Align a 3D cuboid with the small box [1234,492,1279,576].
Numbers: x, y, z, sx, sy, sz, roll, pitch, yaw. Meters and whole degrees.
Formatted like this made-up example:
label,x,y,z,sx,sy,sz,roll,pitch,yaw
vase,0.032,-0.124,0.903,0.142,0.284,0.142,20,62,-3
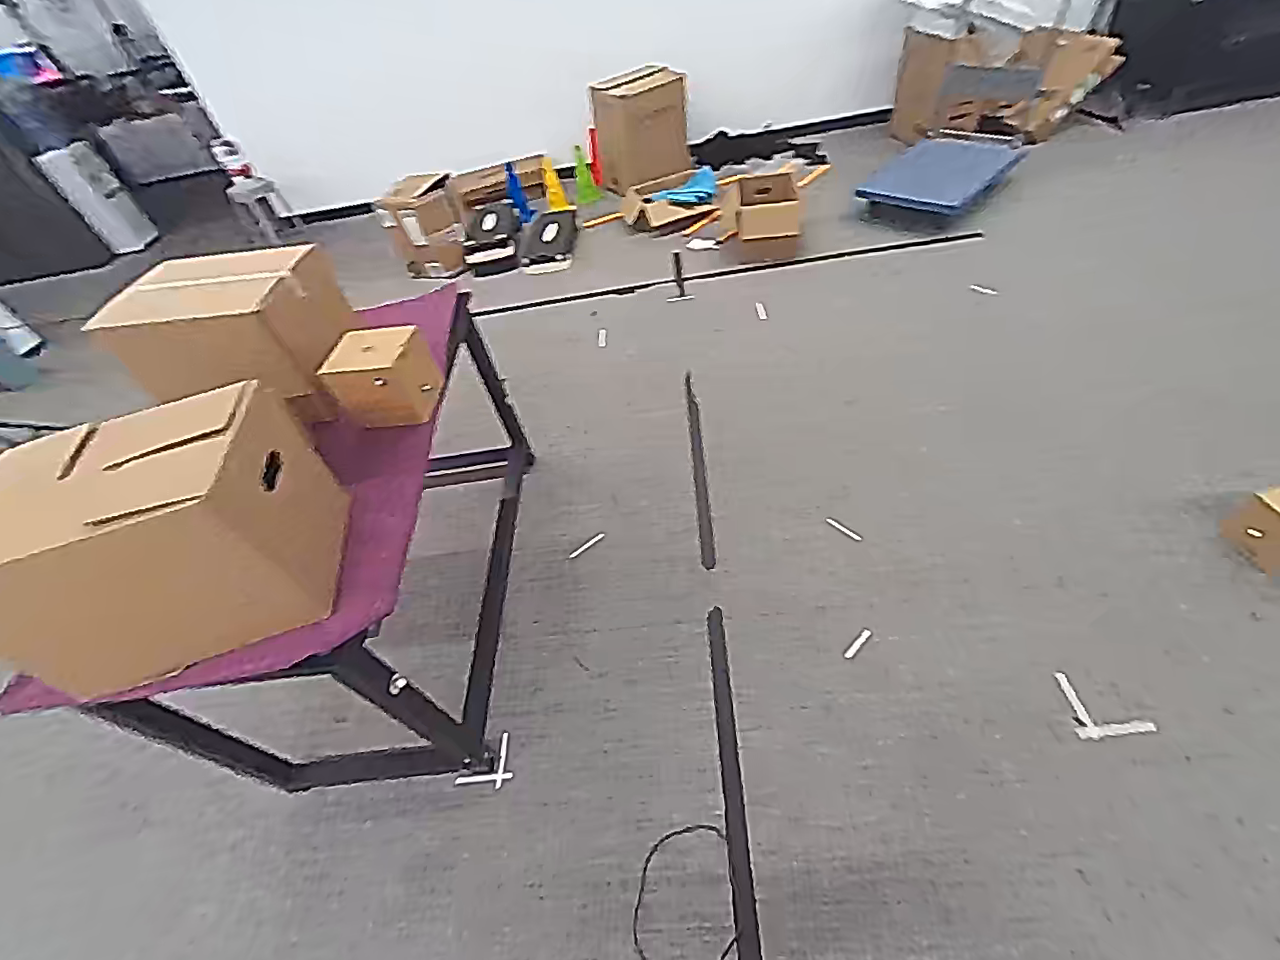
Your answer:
label,x,y,z,sx,sy,sz,roll,pitch,yaw
small box,1.764,0.139,1.439,0.179,0.176,0.168,-9,47,3
